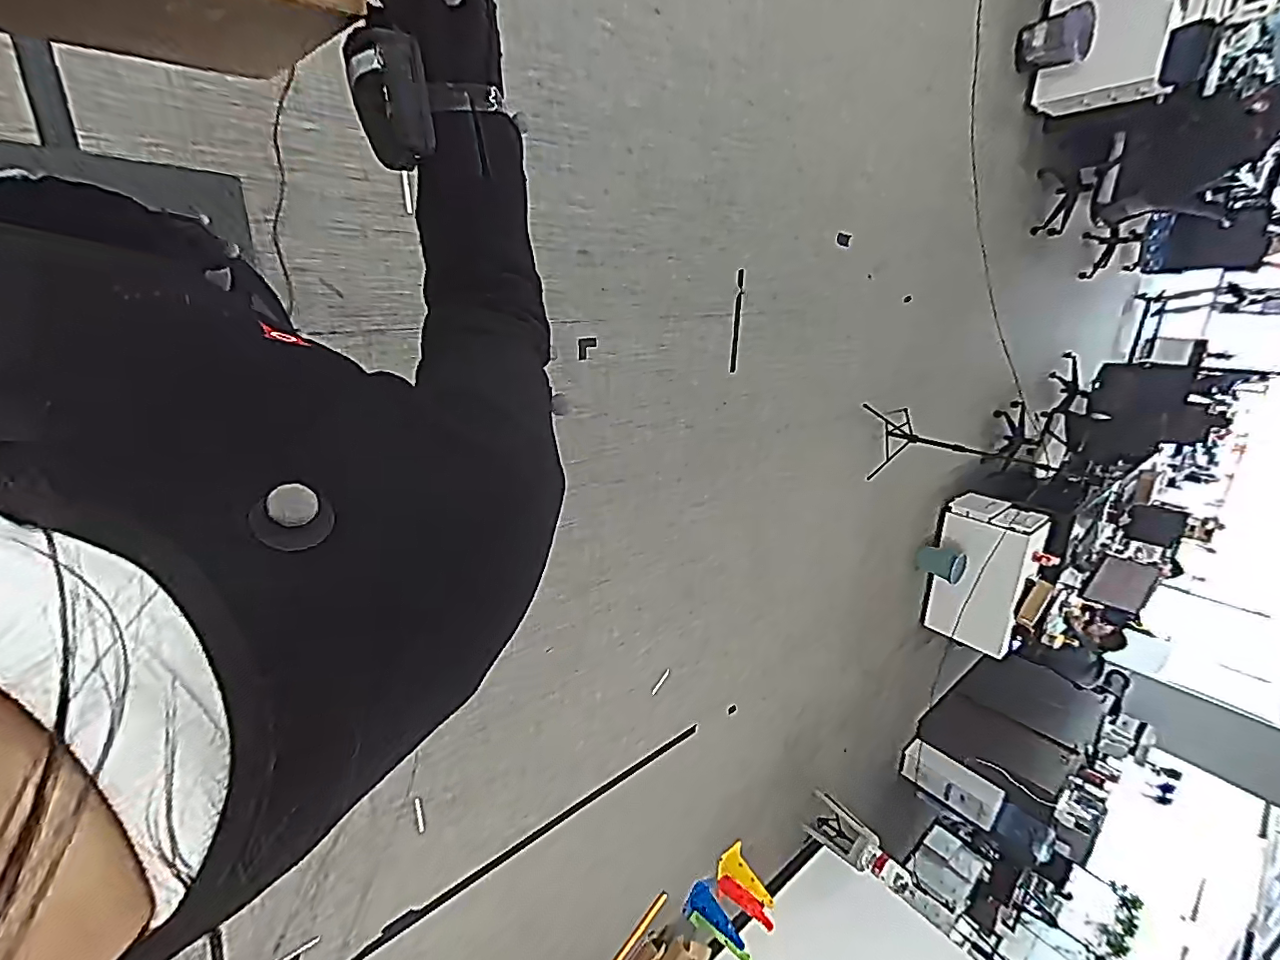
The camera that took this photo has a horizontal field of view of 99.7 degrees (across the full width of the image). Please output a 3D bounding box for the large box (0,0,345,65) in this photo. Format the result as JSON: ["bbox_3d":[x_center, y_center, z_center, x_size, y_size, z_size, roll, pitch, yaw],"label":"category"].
[{"bbox_3d":[-0.397,-0.412,0.218,0.408,0.320,0.320,-17,125,-37],"label":"large box"}]

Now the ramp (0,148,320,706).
[{"bbox_3d":[-0.998,-0.102,1.074,0.509,0.206,0.991,-13,112,-36],"label":"ramp"}]
